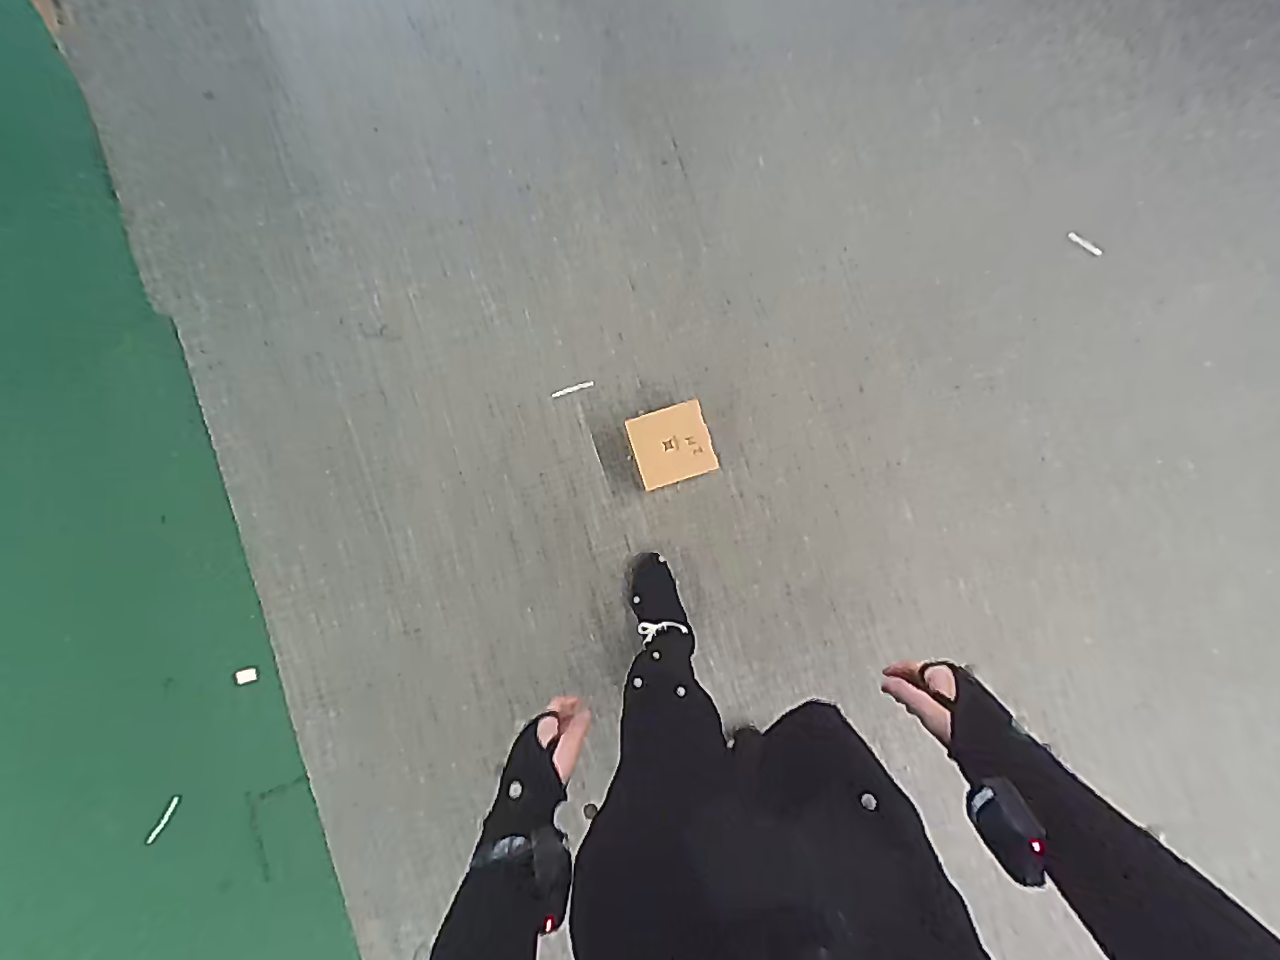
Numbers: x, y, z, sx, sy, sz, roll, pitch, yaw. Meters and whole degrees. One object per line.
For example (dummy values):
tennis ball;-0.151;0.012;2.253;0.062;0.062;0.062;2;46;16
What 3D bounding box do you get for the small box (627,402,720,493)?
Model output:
small box;0.074;-0.070;1.291;0.179;0.176;0.168;-17;87;-4
